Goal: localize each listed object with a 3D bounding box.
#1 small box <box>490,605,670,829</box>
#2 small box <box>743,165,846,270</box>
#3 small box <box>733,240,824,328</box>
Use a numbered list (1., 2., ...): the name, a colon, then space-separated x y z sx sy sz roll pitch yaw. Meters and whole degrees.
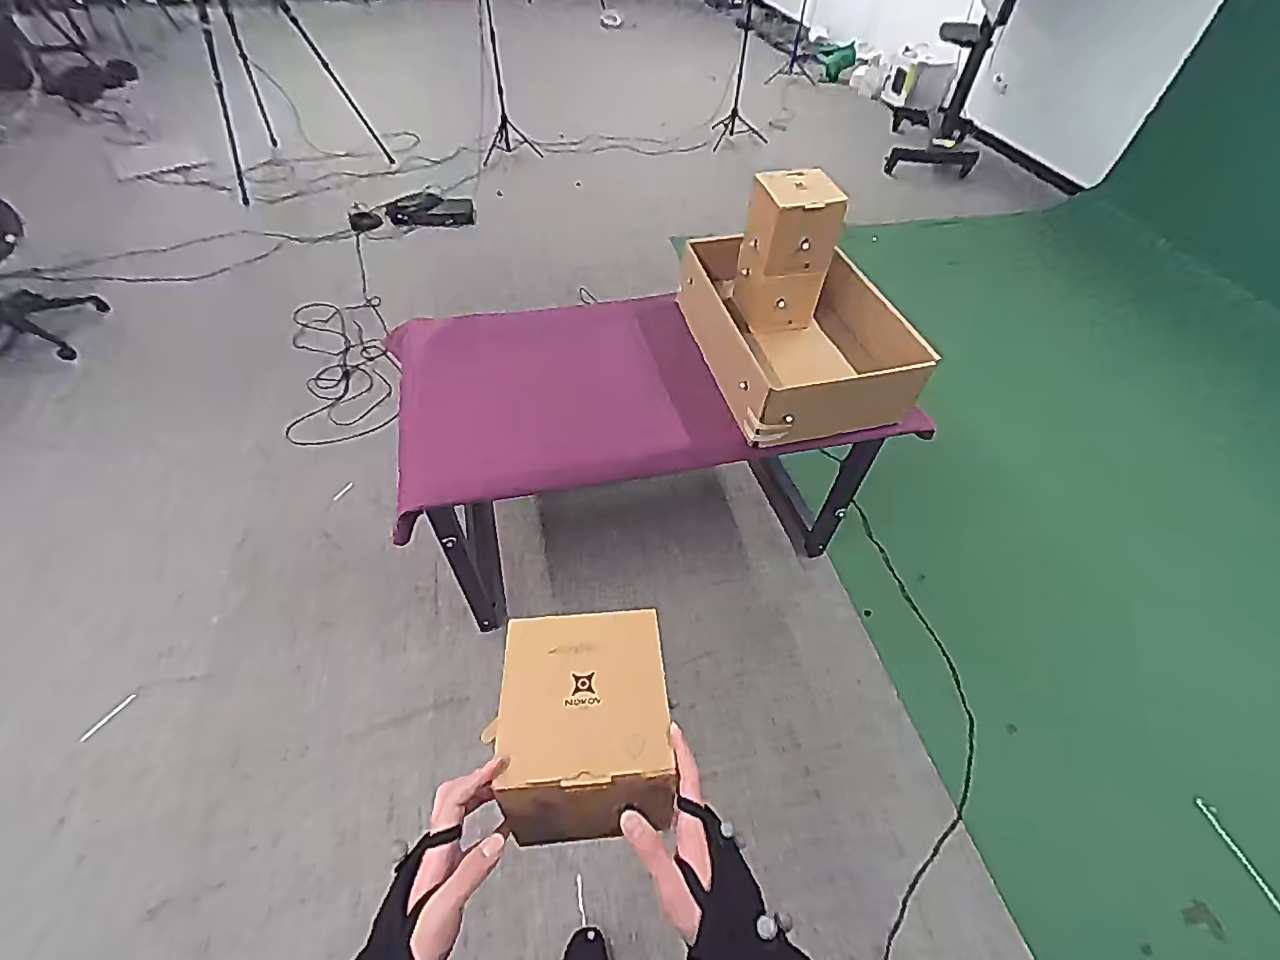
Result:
1. small box: -0.058 0.262 0.595 0.168 0.176 0.179 -3 41 -4
2. small box: 0.358 -0.617 1.285 0.168 0.176 0.179 -8 53 -7
3. small box: 0.354 -0.515 1.413 0.168 0.176 0.179 -9 53 -7
